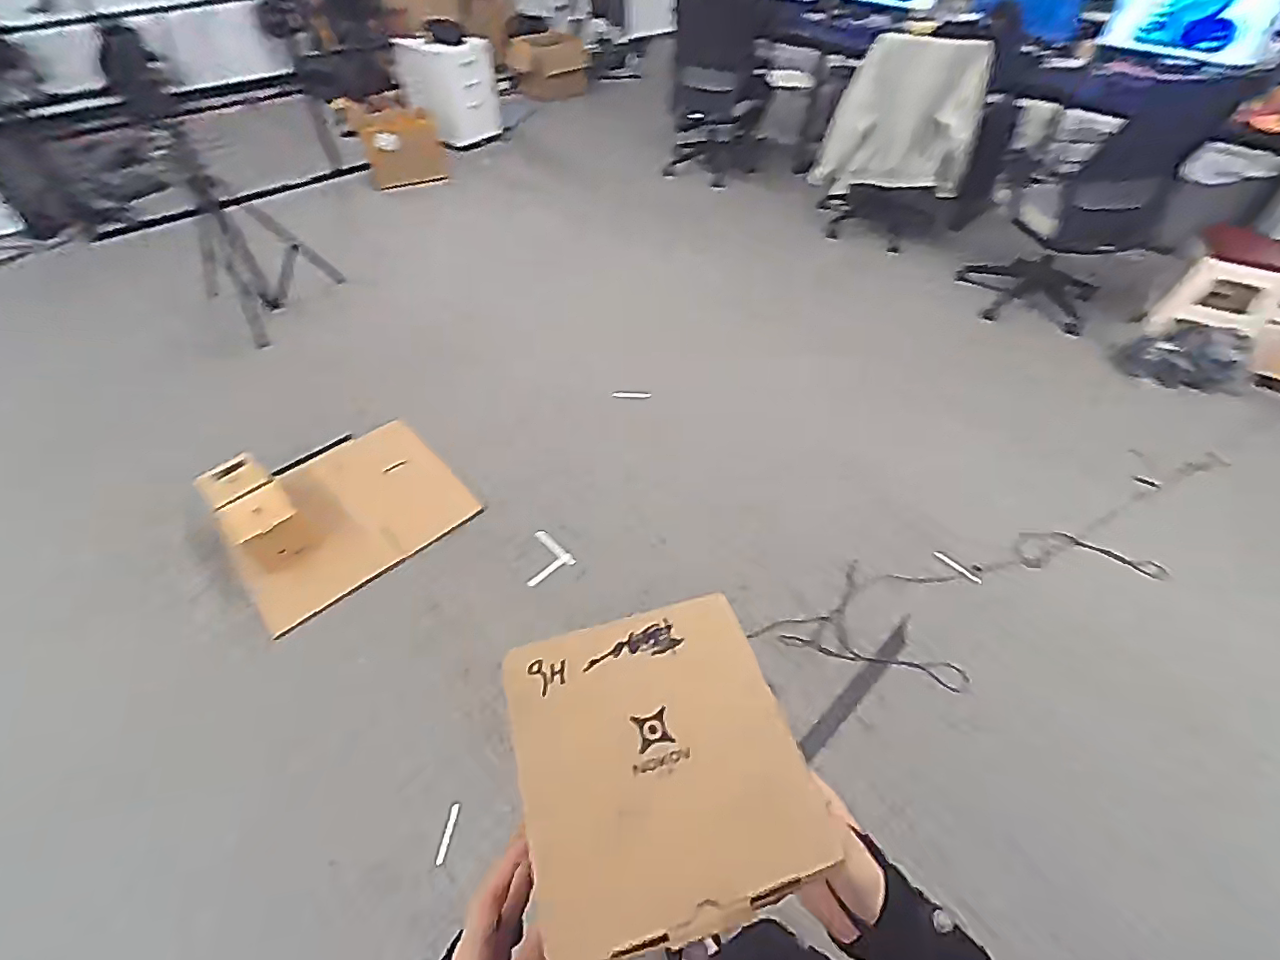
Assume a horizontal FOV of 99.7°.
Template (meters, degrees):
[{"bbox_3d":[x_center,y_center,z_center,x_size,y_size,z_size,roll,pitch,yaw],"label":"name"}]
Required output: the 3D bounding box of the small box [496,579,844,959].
[{"bbox_3d":[0.004,0.202,0.380,0.168,0.176,0.179,-12,50,-15],"label":"small box"}]
